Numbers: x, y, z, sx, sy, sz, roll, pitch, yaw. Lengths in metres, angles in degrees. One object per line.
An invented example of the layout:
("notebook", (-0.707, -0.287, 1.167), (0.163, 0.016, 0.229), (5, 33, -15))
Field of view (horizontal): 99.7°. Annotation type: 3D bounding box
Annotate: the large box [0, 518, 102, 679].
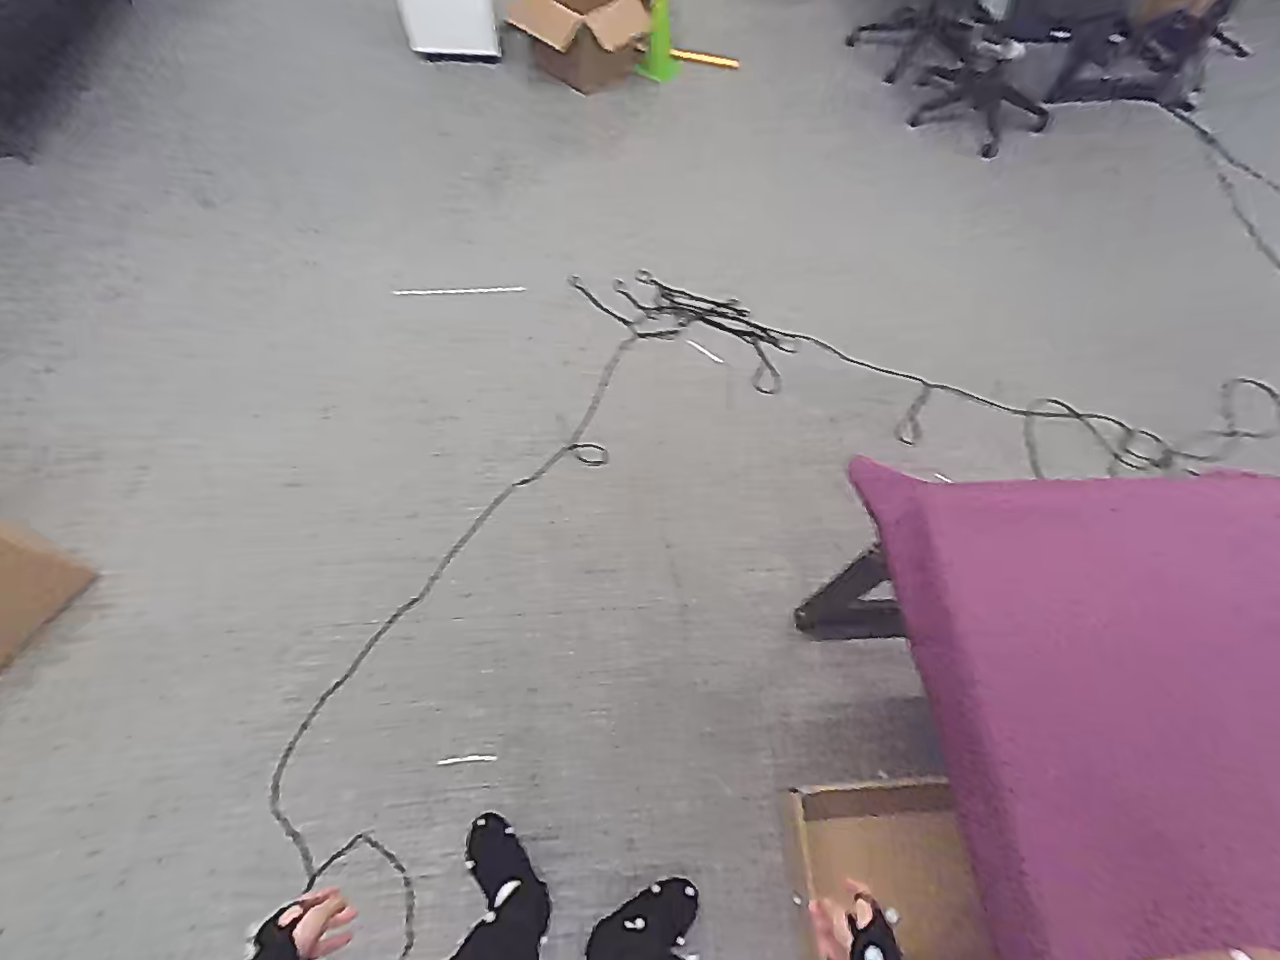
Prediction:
("large box", (-1.656, 0.285, 1.267), (0.320, 0.320, 0.408), (24, 62, 11))
